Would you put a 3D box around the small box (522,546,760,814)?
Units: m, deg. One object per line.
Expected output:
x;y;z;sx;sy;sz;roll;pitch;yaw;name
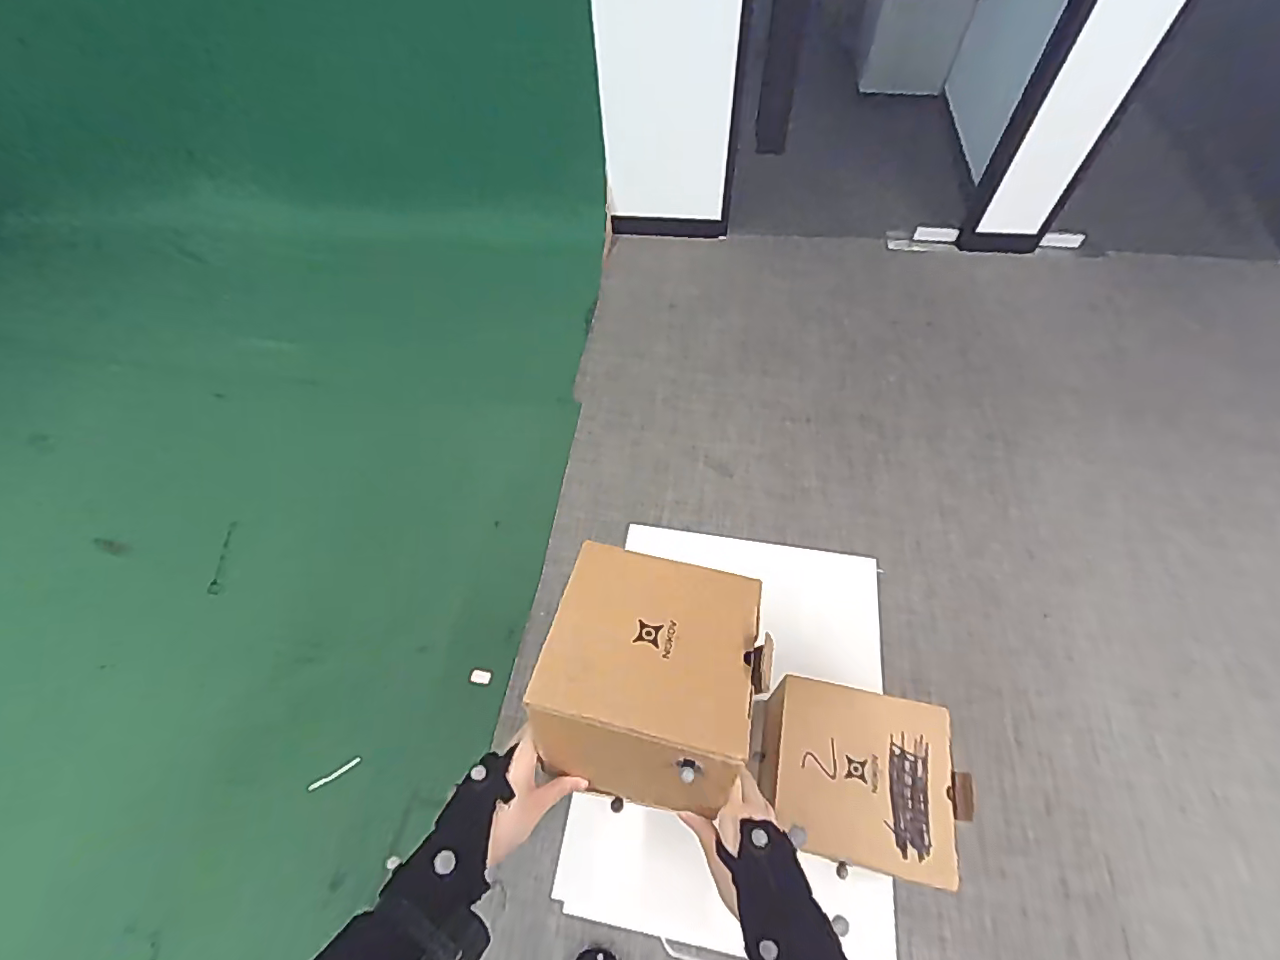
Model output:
0.005;0.192;0.516;0.179;0.176;0.168;12;46;6;small box
